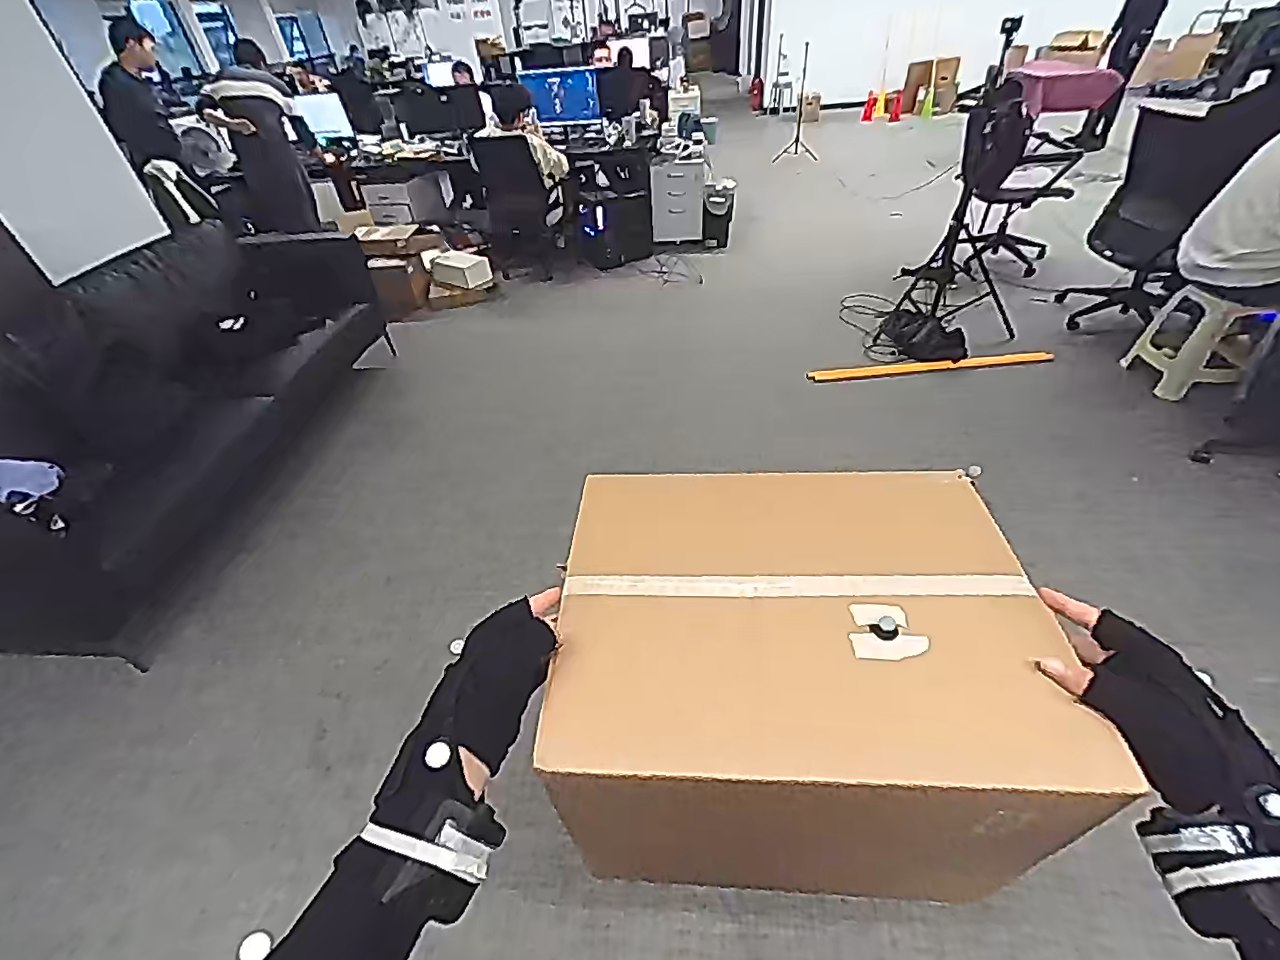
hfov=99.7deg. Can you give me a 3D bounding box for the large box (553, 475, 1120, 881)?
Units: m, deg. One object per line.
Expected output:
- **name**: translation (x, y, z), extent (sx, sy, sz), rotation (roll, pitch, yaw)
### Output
- **large box**: translation (0.145, 0.209, 0.588), extent (0.408, 0.320, 0.320), rotation (0, 43, 4)
